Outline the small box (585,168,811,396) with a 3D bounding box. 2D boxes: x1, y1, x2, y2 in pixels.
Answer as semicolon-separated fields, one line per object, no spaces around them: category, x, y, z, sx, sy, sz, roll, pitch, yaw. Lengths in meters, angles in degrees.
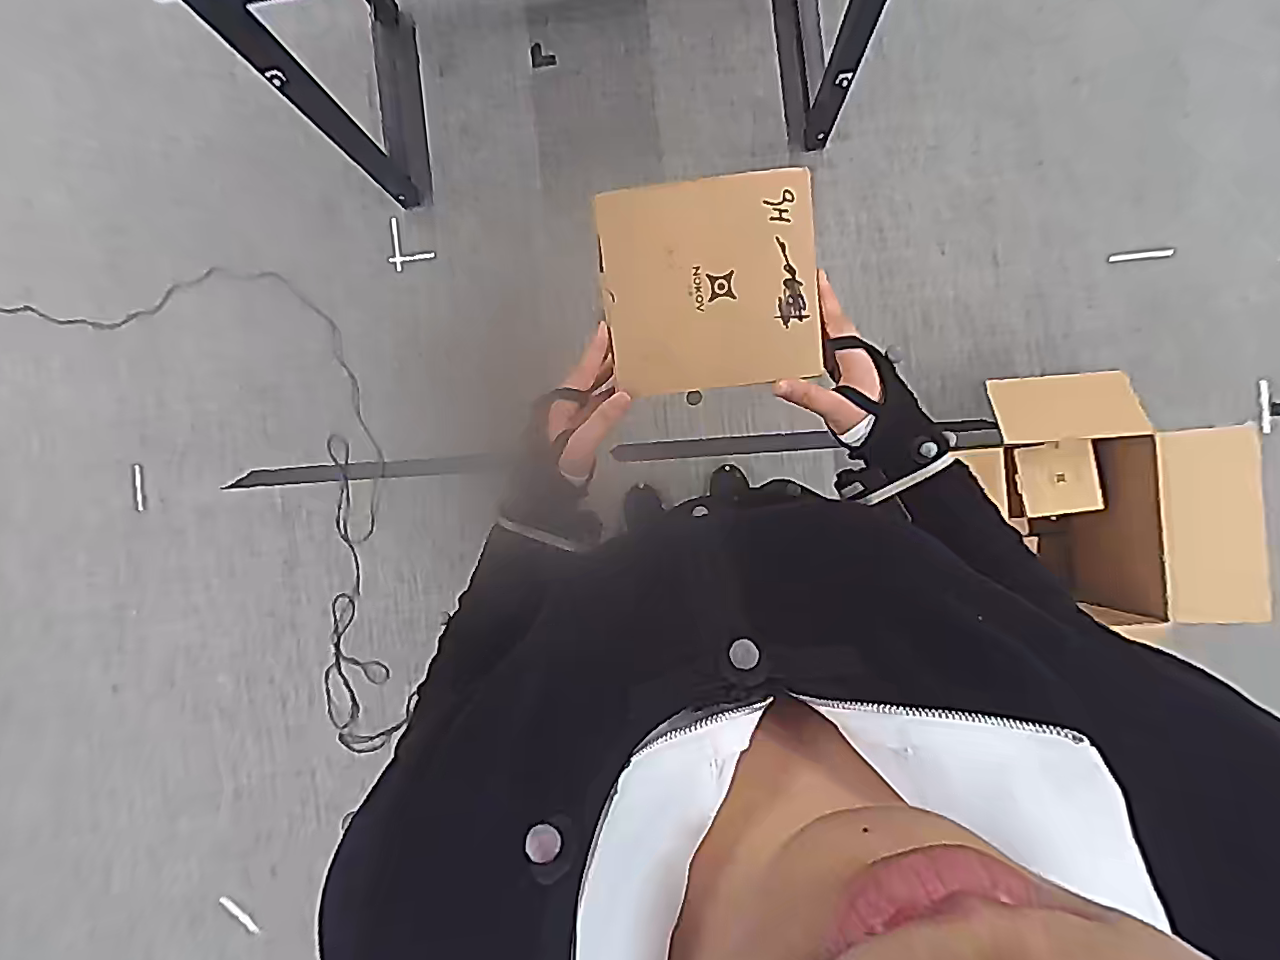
small box;0.052;-0.172;0.525;0.179;0.176;0.168;-7;99;2
